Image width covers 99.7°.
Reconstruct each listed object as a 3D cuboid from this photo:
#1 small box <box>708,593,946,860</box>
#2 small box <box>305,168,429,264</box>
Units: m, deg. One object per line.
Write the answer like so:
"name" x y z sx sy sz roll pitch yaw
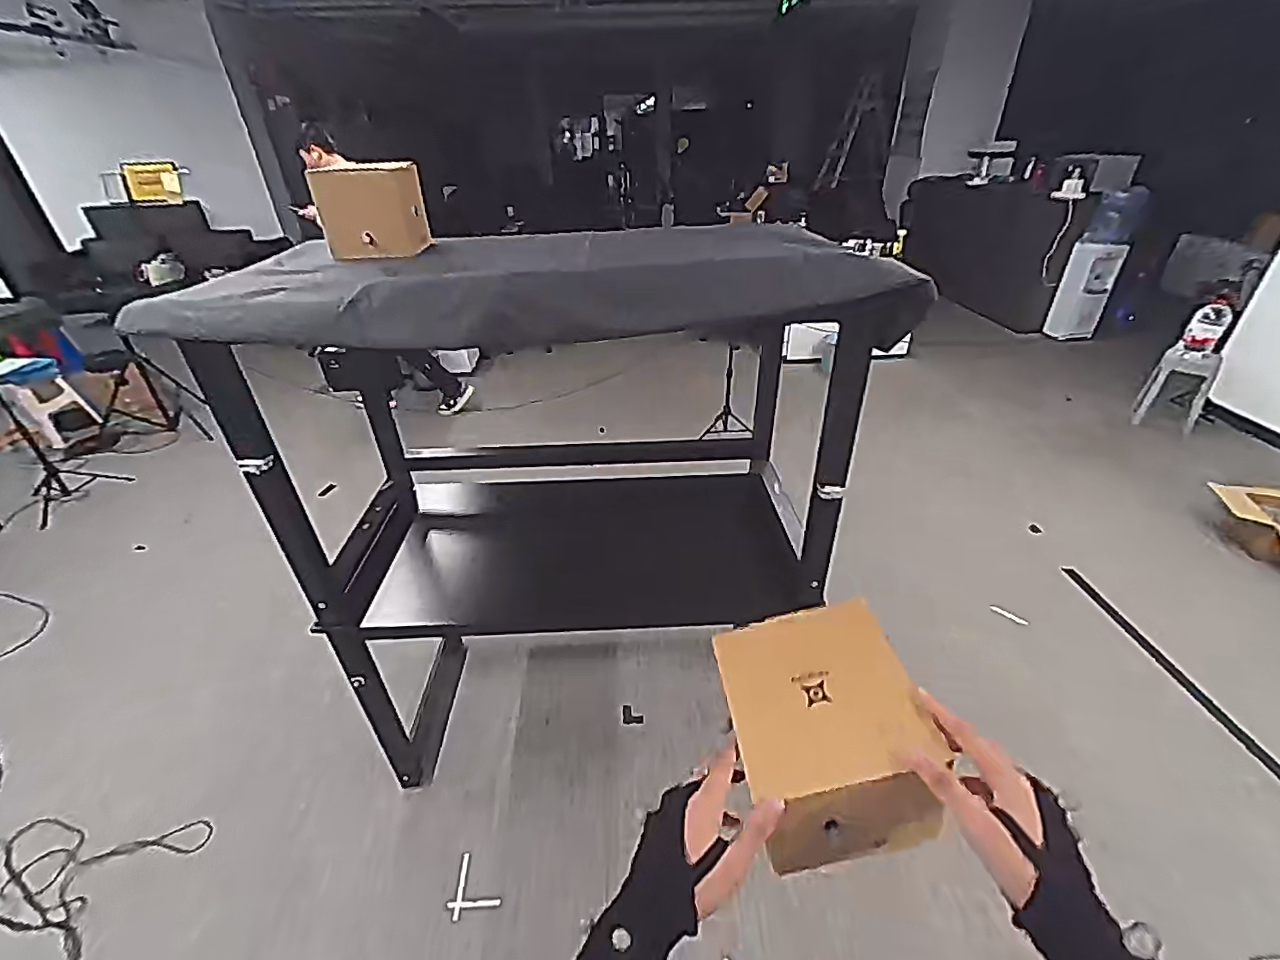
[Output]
"small box" 0.179 0.250 0.543 0.168 0.176 0.179 -16 35 4
"small box" -0.578 -0.574 1.175 0.179 0.176 0.168 -3 33 -4
